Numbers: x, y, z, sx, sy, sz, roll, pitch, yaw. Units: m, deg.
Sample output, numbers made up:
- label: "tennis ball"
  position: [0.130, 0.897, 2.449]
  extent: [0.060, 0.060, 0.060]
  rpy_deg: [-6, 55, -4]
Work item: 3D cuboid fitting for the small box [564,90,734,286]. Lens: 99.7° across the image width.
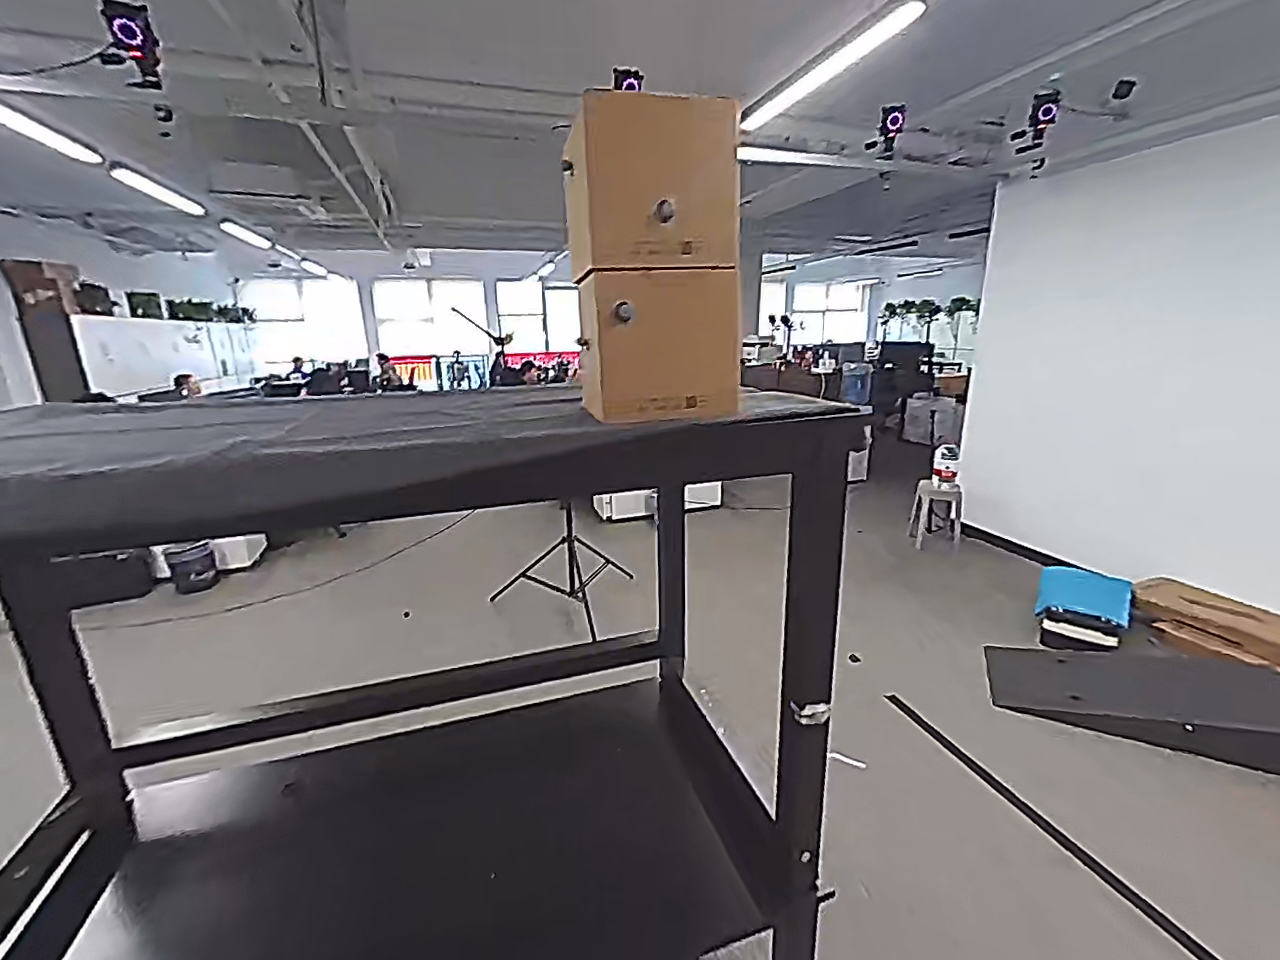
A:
- label: "small box"
  position: [0.003, -0.329, 0.646]
  extent: [0.168, 0.176, 0.179]
  rpy_deg: [-7, 15, -13]
